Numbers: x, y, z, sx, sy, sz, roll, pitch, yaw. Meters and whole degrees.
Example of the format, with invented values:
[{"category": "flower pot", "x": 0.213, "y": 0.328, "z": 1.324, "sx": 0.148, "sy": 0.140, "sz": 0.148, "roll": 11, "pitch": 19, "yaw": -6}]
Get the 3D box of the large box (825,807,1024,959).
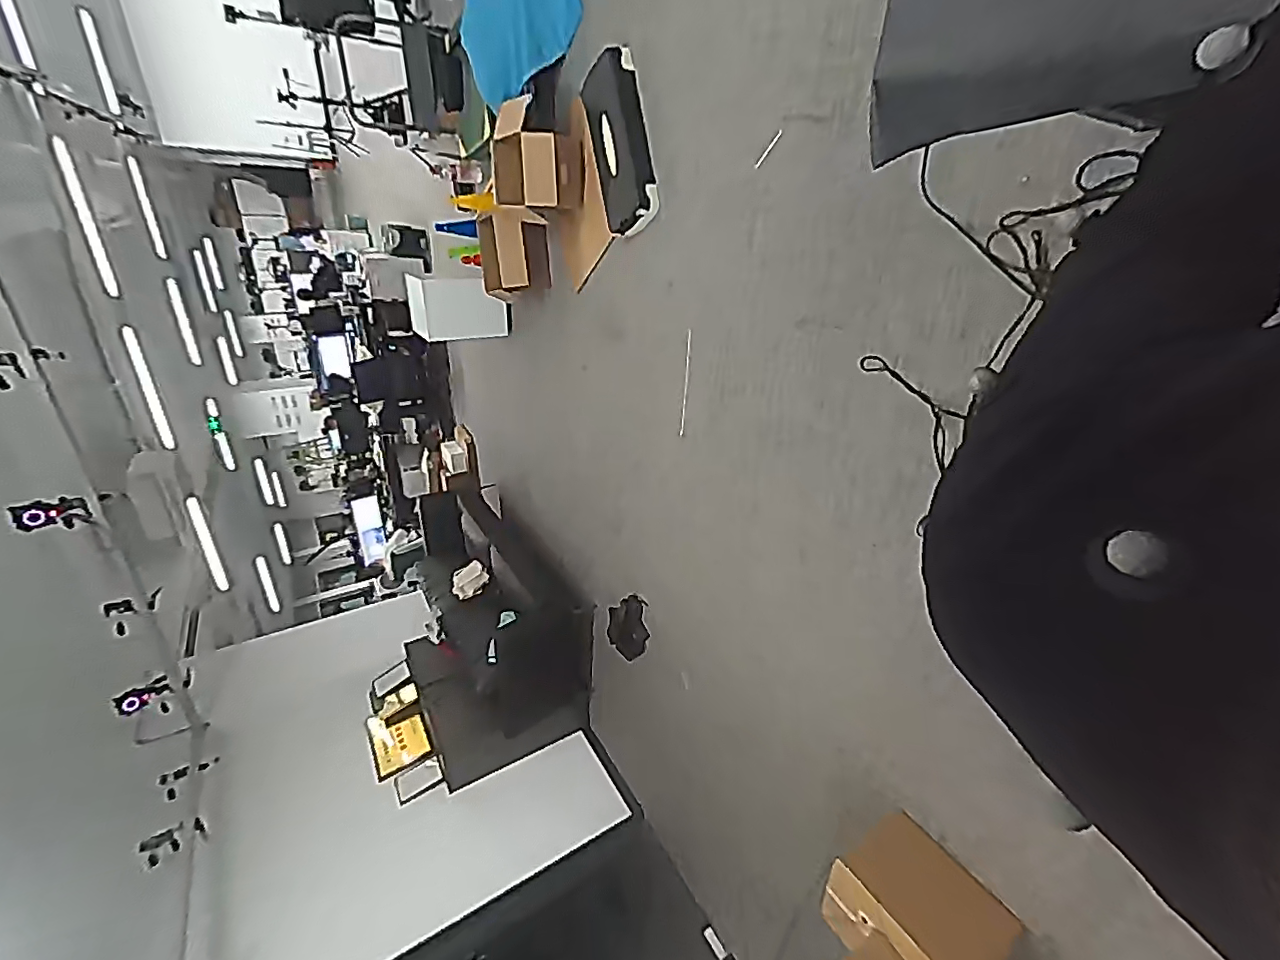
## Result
[{"category": "large box", "x": 0.842, "y": 1.320, "z": 1.642, "sx": 0.408, "sy": 0.320, "sz": 0.320, "roll": 36, "pitch": 131, "yaw": 51}]
